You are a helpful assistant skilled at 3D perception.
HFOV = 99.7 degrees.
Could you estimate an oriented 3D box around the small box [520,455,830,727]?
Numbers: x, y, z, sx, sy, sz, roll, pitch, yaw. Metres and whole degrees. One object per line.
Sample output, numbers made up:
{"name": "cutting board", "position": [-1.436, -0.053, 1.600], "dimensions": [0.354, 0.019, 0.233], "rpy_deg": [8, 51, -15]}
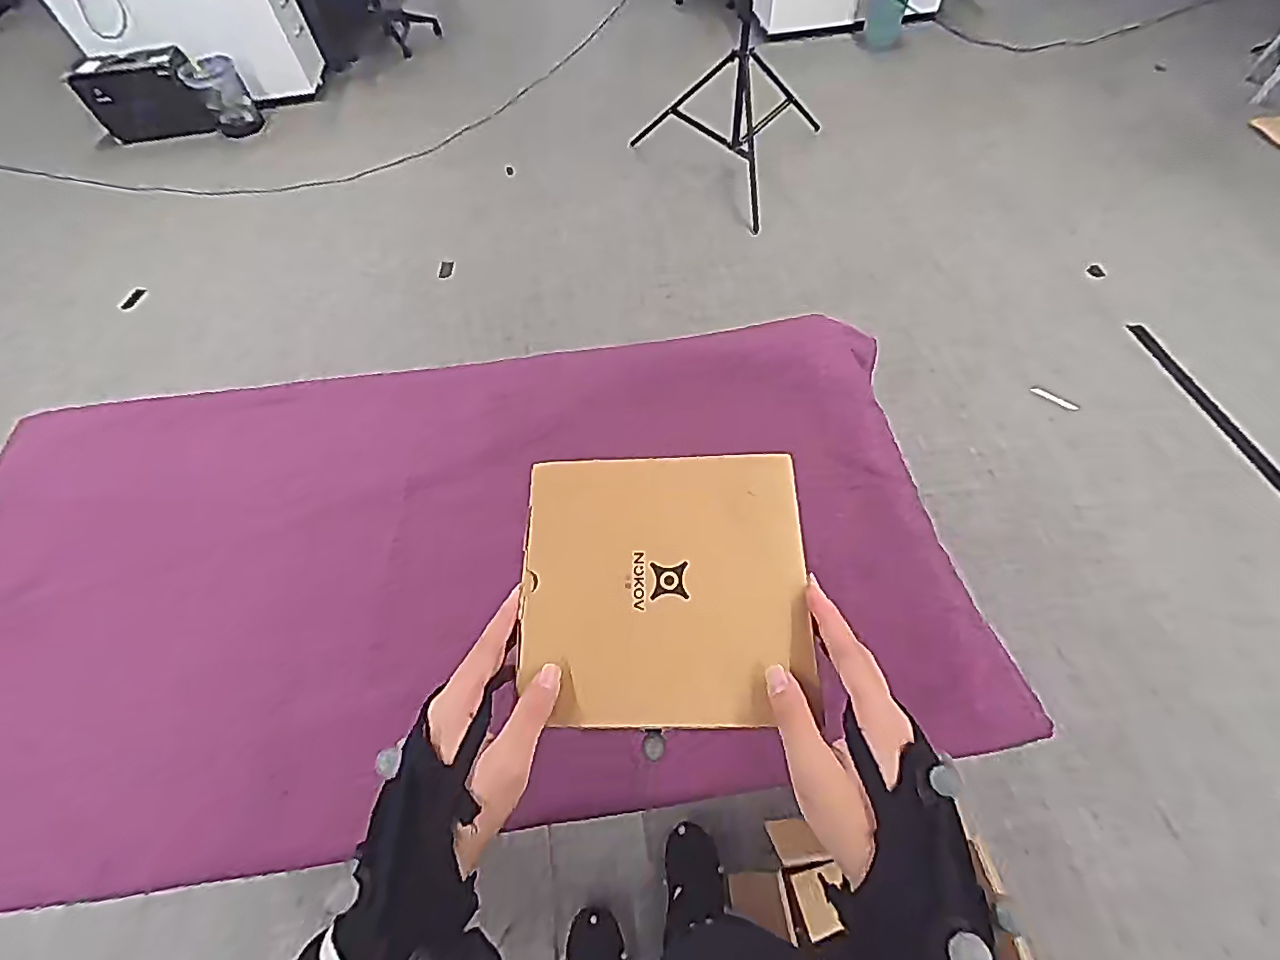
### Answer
{"name": "small box", "position": [0.025, 0.092, 0.404], "dimensions": [0.179, 0.176, 0.168], "rpy_deg": [-2, 66, 5]}
